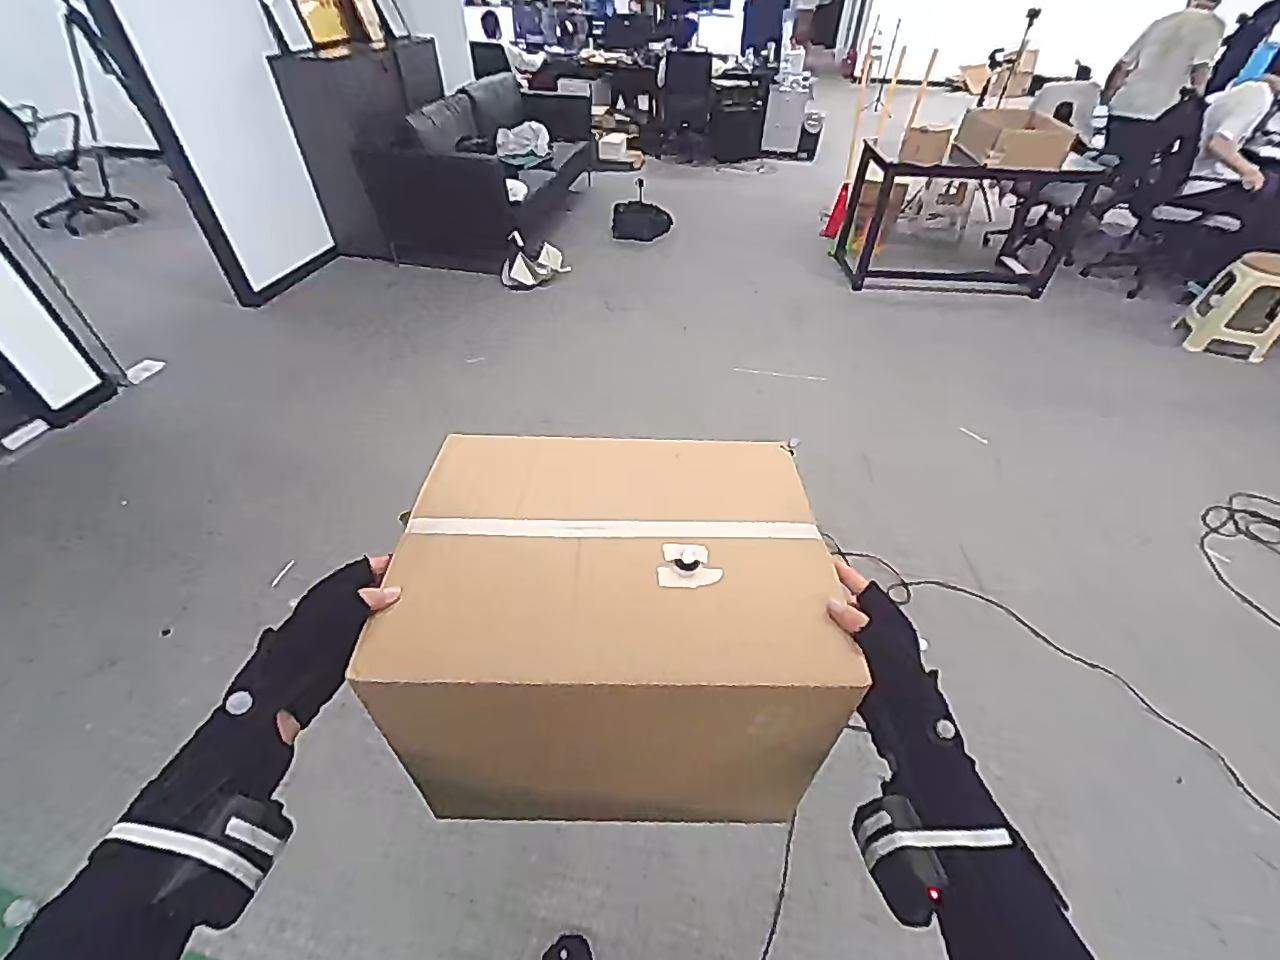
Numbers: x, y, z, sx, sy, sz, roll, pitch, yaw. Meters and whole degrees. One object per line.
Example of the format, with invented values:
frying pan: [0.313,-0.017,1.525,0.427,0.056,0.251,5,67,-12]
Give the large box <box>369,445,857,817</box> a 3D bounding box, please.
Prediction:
large box: [-0.029,0.172,0.640,0.408,0.320,0.320,2,41,-2]
